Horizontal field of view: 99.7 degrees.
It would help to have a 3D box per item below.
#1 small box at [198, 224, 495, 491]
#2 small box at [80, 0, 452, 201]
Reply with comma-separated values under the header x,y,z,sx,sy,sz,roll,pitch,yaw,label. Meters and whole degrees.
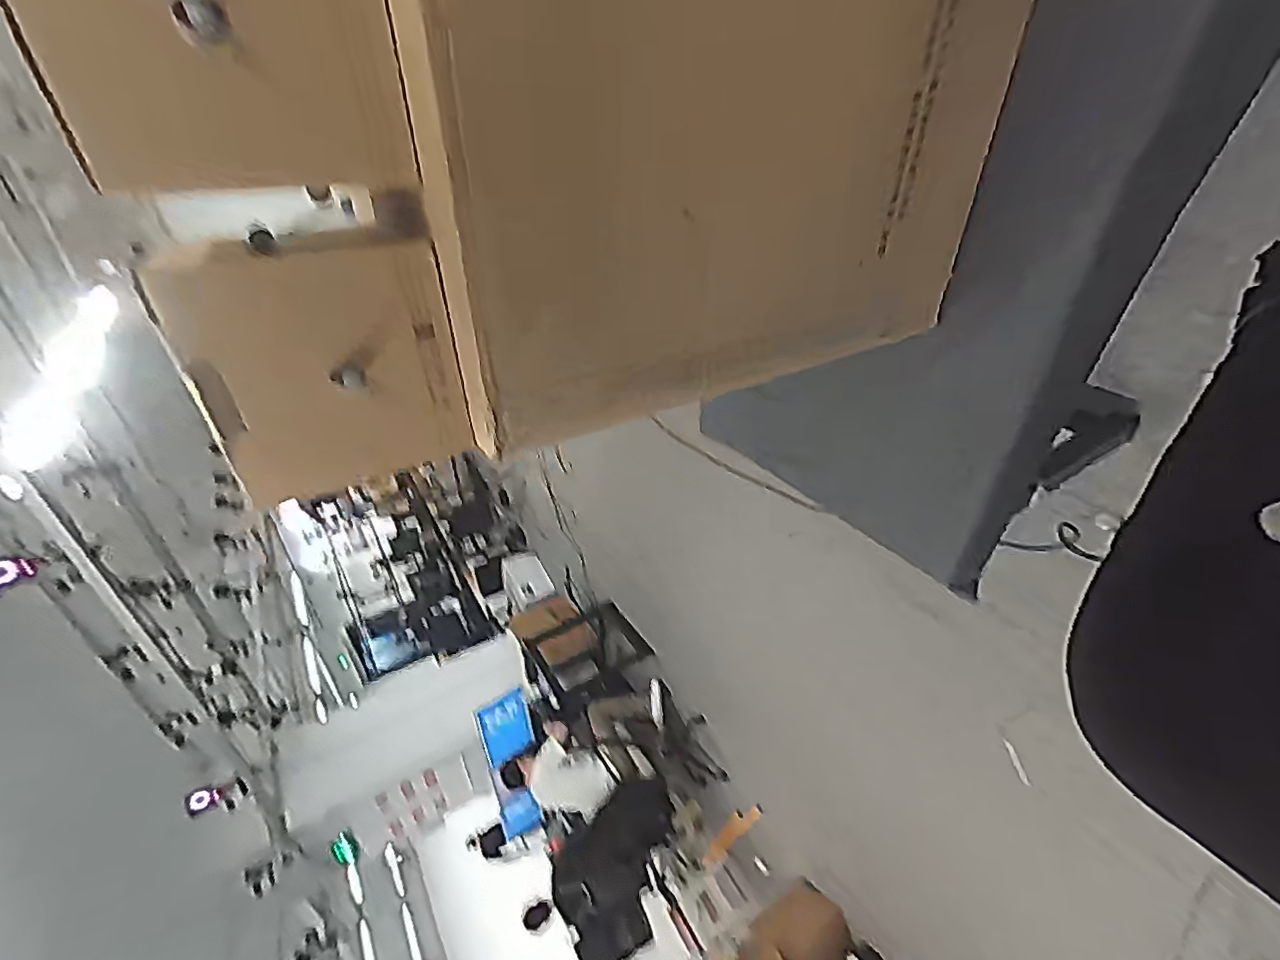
x,y,z,sx,sy,sz,roll,pitch,yaw,label
-0.239,-0.119,0.465,0.179,0.176,0.168,33,137,47,small box
-0.242,-0.291,0.348,0.168,0.176,0.179,38,140,43,small box
